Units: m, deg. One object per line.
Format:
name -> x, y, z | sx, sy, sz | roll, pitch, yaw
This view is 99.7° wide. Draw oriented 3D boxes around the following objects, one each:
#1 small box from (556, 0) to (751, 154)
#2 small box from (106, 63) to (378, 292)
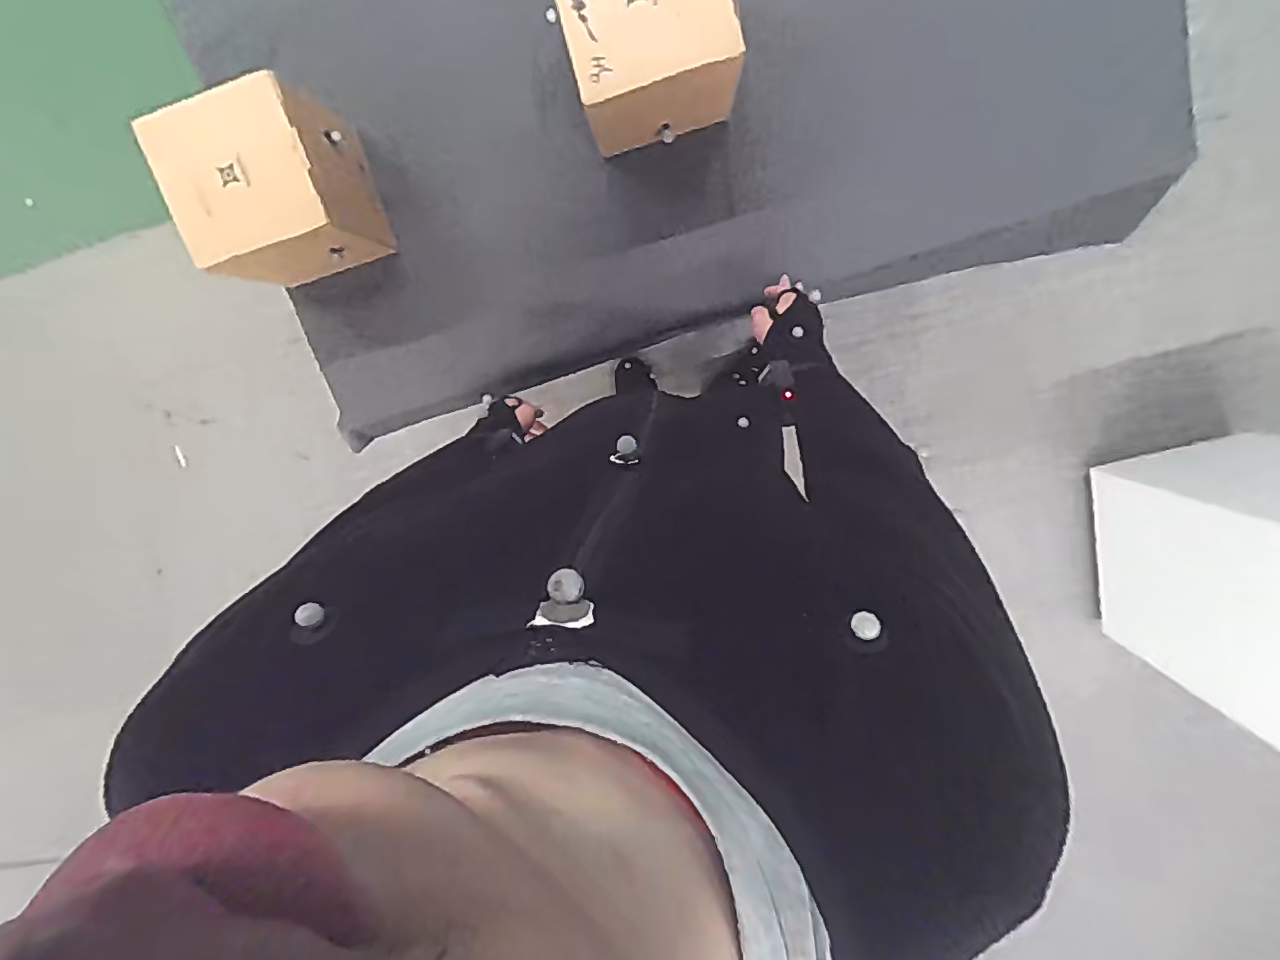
small box -> 0.006, -0.500, 0.604 | 0.179, 0.176, 0.168 | -16, 102, 3
small box -> -0.446, -0.339, 0.645 | 0.179, 0.176, 0.168 | -17, 101, 5
